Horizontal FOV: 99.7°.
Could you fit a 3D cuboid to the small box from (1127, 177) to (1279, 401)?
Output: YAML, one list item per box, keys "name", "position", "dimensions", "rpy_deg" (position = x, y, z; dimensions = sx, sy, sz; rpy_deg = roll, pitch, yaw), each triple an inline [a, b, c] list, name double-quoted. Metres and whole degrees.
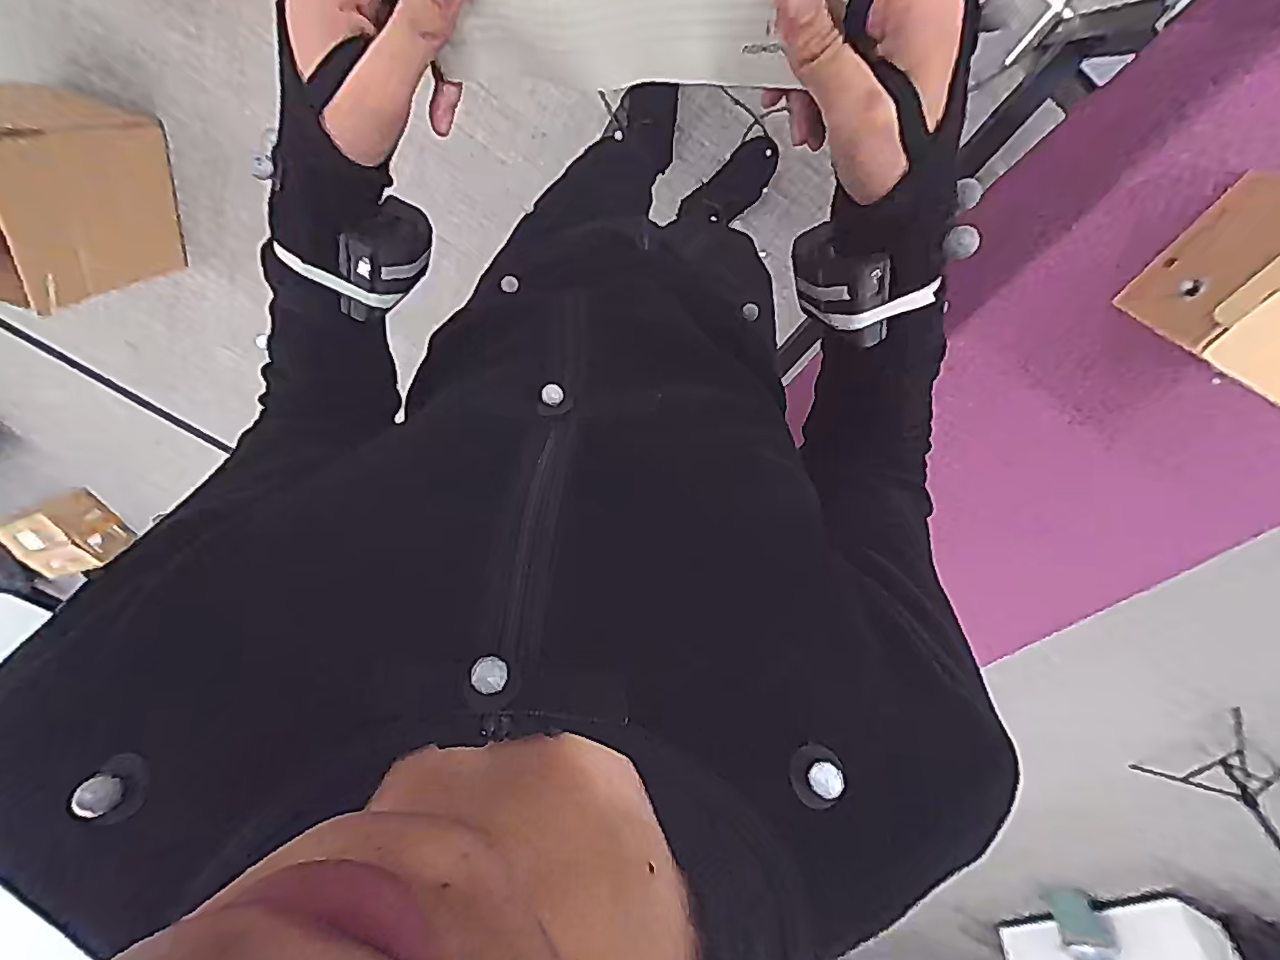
- name: "small box"
  position: [0.691, -0.198, 0.575]
  dimensions: [0.179, 0.176, 0.168]
  rpy_deg: [26, 128, -8]
